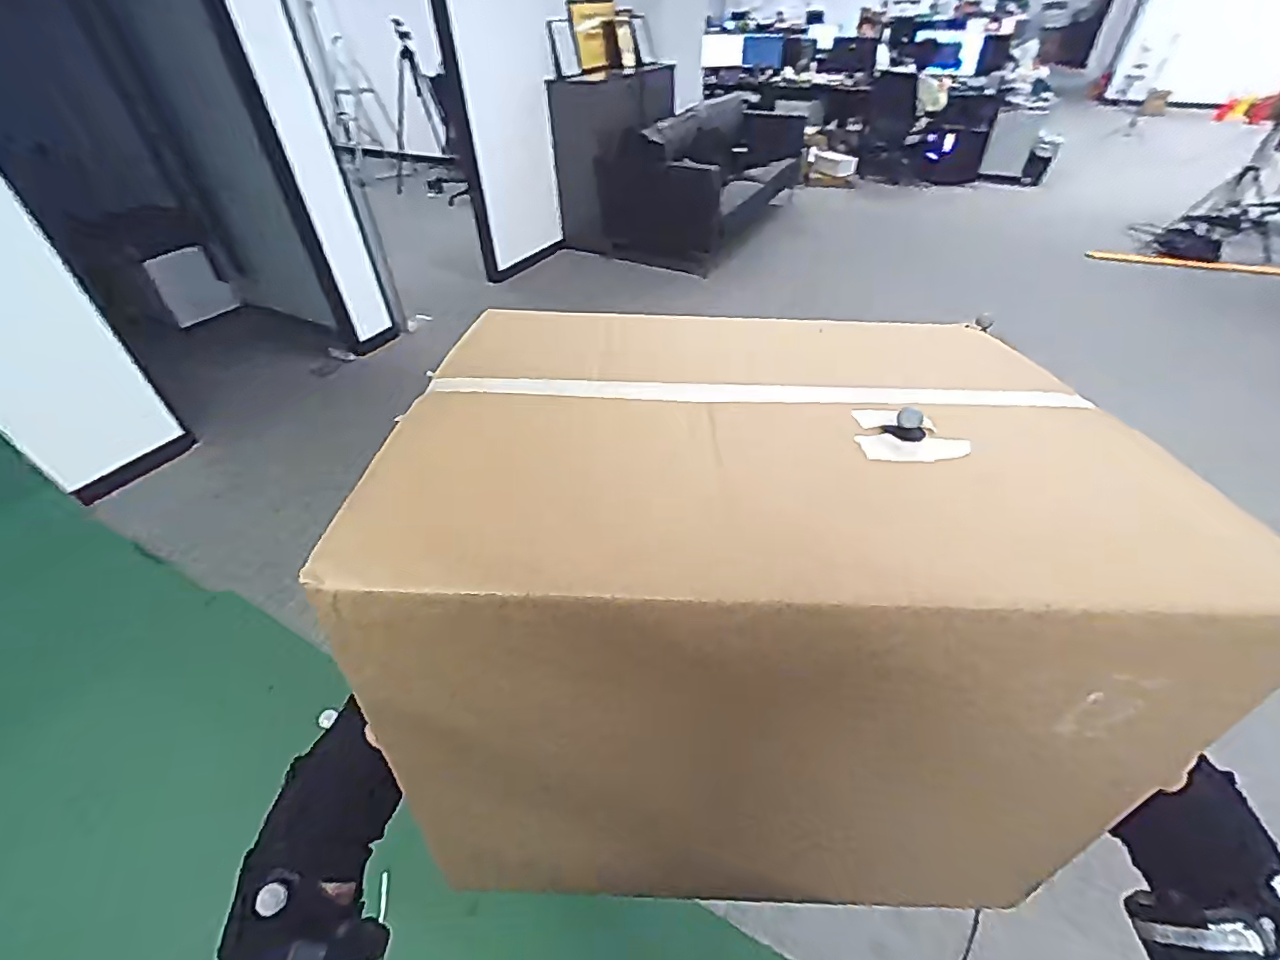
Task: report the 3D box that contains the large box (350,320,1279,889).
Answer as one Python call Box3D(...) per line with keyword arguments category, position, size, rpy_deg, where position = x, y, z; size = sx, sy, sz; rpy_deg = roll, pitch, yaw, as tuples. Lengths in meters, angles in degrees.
Box3D(category="large box", position=(0.074, 0.080, 0.424), size=(0.408, 0.320, 0.320), rpy_deg=(3, 36, 0))
